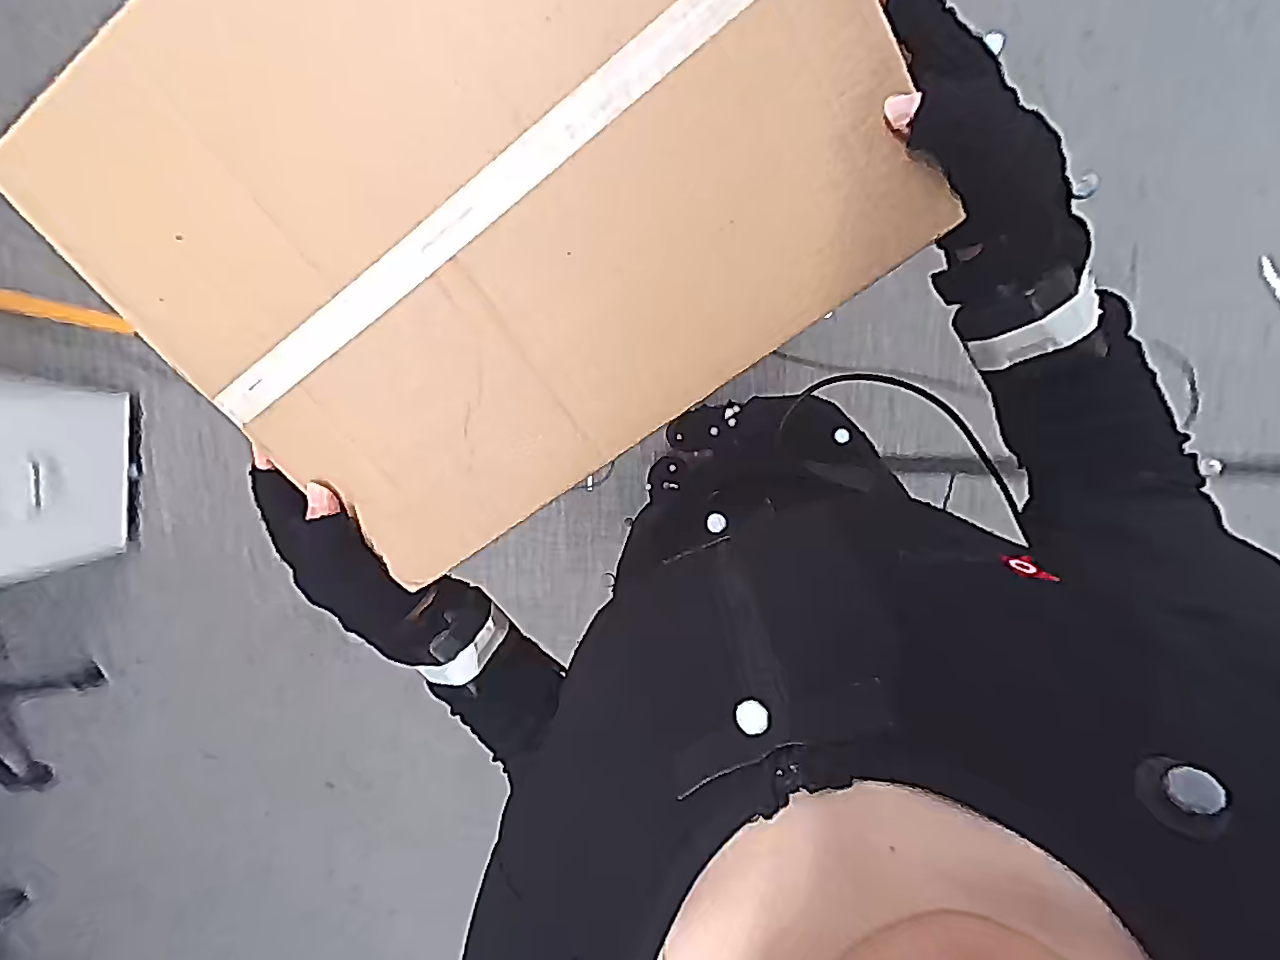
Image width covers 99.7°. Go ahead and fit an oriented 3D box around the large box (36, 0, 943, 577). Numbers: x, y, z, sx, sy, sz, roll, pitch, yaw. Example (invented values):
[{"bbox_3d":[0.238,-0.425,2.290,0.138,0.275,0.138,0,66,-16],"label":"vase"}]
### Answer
[{"bbox_3d":[-0.076,-0.207,0.431,0.408,0.320,0.320,-32,108,11],"label":"large box"}]
